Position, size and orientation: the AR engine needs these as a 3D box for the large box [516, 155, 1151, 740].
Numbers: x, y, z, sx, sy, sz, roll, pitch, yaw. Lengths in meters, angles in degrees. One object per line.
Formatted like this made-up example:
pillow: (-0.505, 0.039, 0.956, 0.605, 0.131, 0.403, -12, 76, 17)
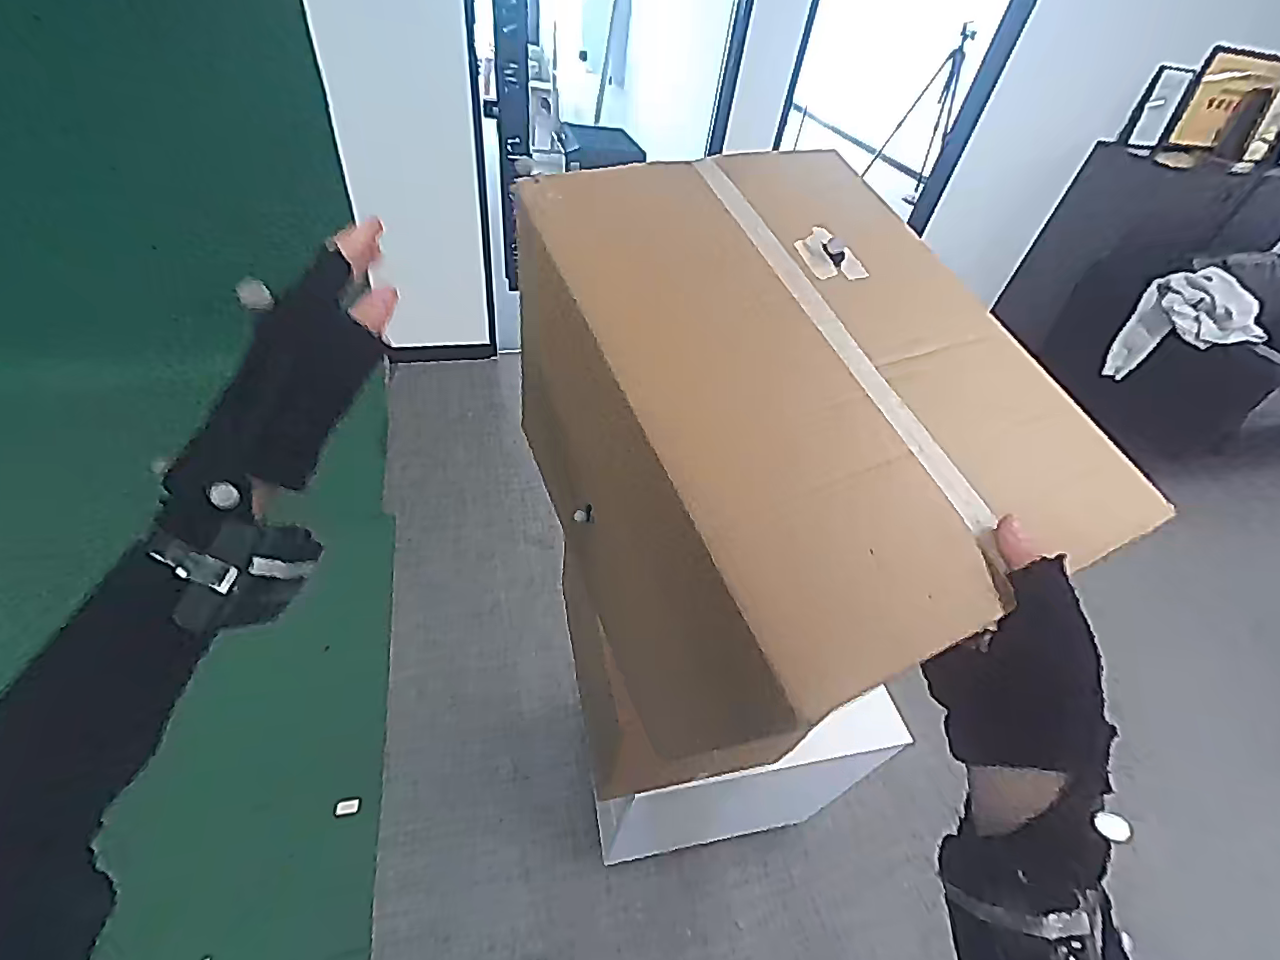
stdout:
large box: (0.099, -0.030, 0.511, 0.320, 0.320, 0.408, -16, 64, -20)
